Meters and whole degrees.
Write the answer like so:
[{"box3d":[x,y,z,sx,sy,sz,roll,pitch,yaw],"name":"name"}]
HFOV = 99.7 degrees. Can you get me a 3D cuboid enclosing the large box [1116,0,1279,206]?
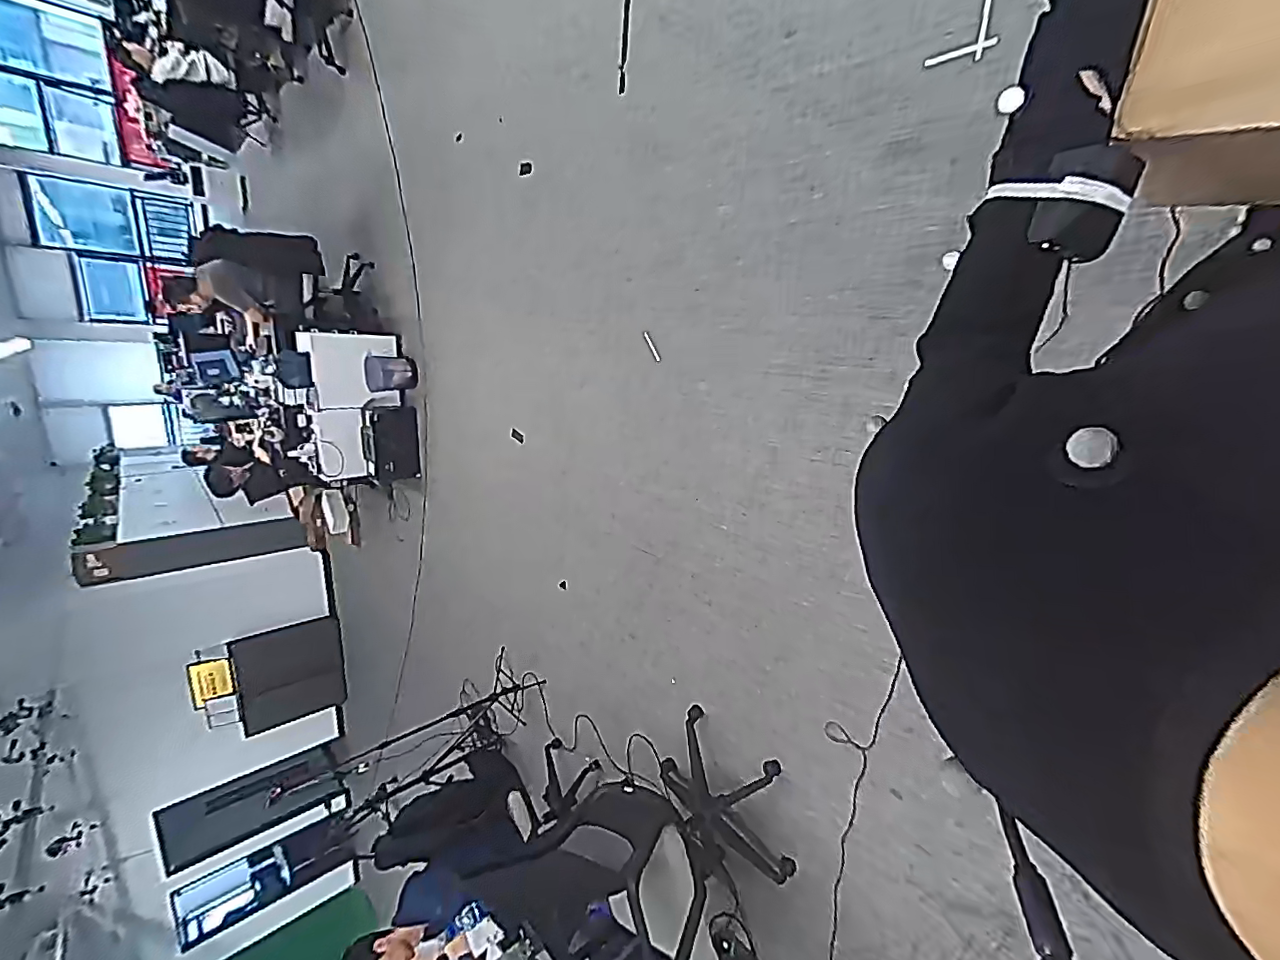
[{"box3d":[0.593,-0.364,0.317,0.408,0.320,0.320,21,117,40],"name":"large box"}]
